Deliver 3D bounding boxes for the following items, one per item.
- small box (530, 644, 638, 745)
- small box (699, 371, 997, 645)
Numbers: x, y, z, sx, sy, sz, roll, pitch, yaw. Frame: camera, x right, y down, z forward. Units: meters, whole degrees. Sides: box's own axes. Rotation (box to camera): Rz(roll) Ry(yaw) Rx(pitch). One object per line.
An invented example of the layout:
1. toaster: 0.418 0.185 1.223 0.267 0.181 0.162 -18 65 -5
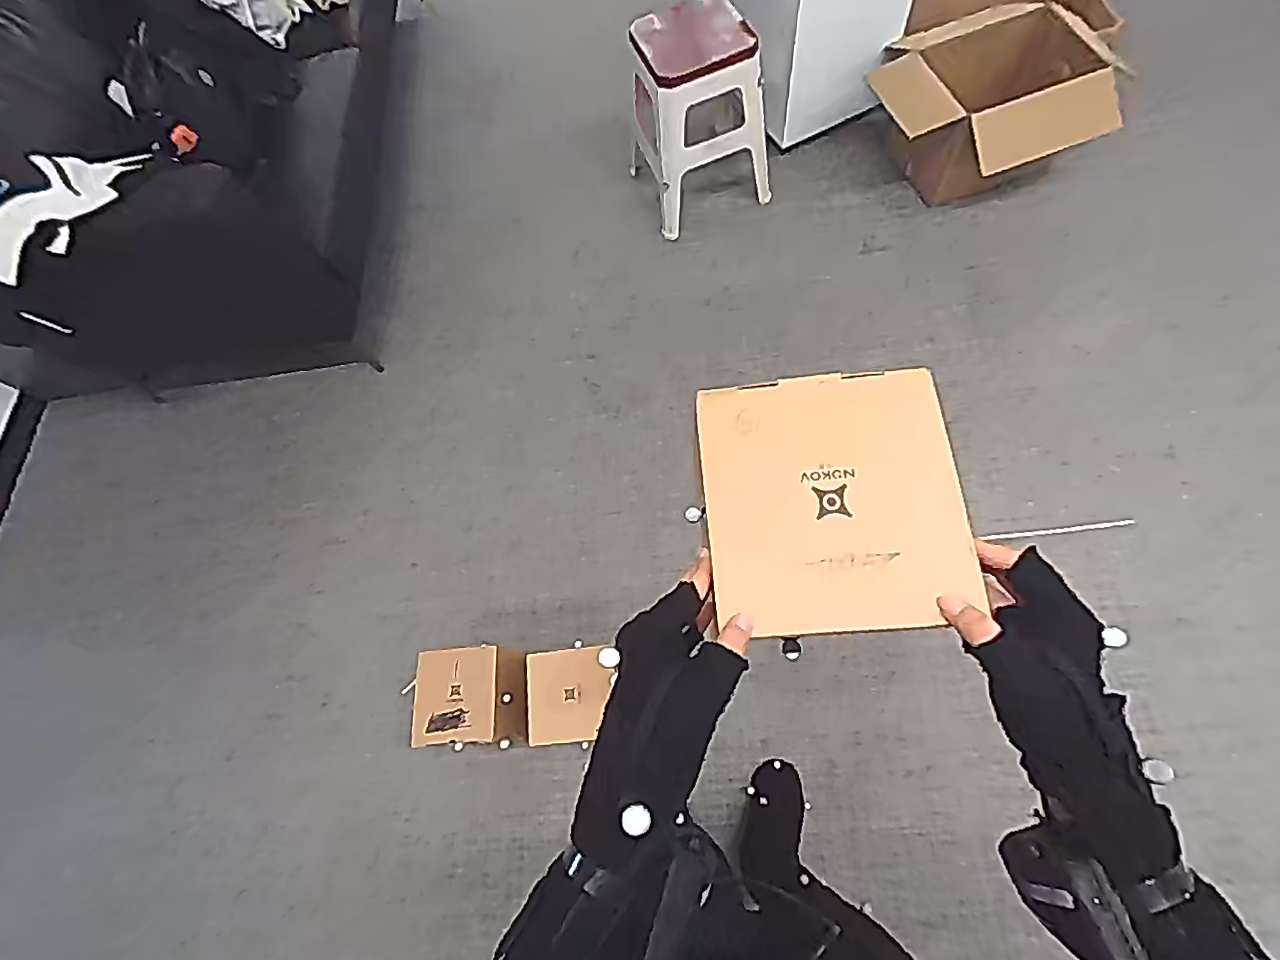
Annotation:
1. small box: -0.109 0.431 1.087 0.179 0.176 0.168 -9 68 4
2. small box: 0.136 0.036 0.430 0.168 0.176 0.179 -6 74 5
